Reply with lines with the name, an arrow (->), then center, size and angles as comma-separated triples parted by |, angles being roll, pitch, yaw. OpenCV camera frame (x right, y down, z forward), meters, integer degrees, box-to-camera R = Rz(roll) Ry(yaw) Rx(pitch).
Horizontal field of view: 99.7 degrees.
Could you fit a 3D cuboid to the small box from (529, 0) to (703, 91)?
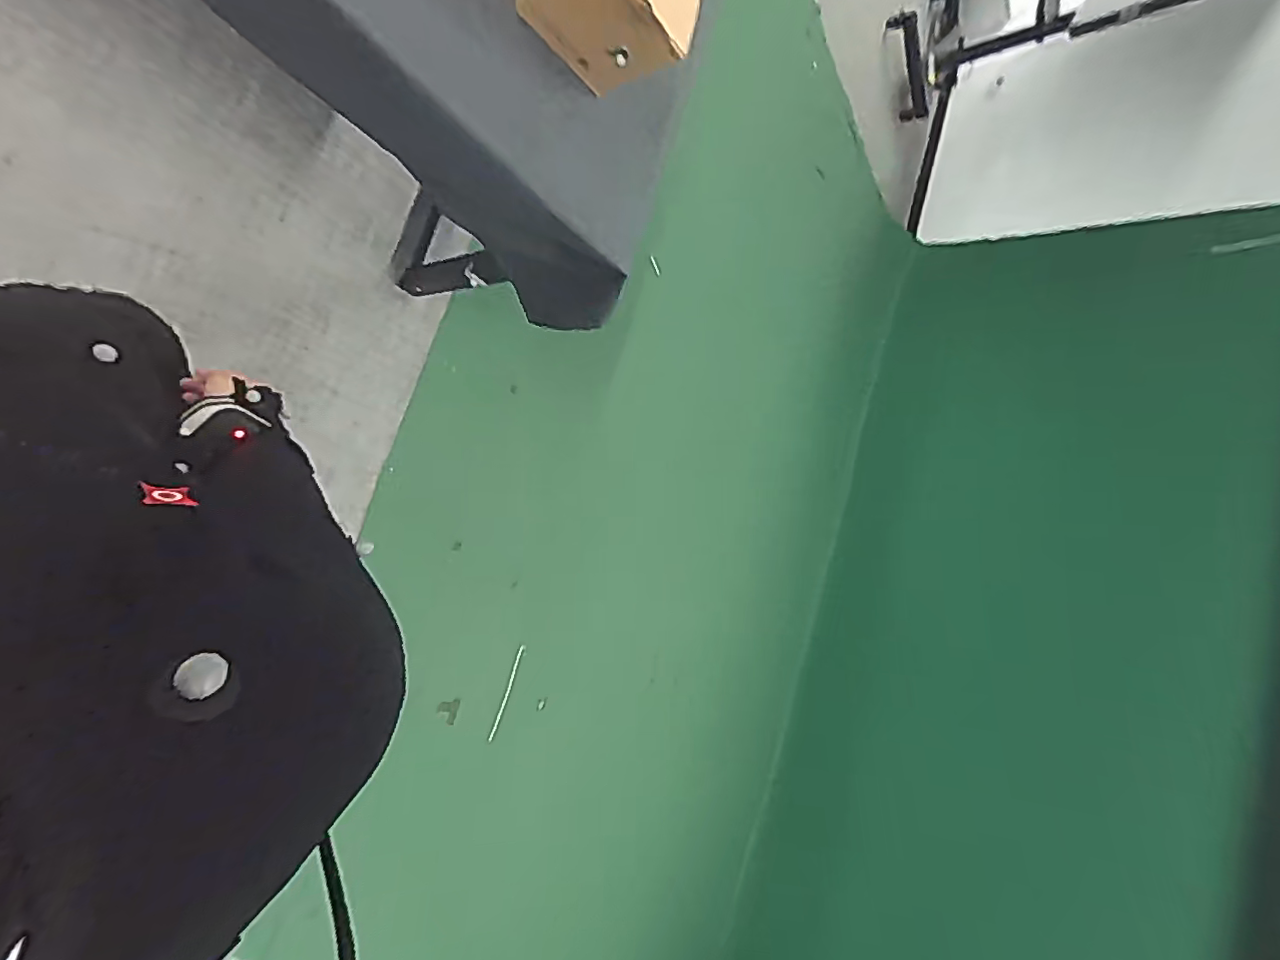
small box -> -0.029, -0.663, 0.708 | 0.168, 0.176, 0.179 | 16, 85, -52
